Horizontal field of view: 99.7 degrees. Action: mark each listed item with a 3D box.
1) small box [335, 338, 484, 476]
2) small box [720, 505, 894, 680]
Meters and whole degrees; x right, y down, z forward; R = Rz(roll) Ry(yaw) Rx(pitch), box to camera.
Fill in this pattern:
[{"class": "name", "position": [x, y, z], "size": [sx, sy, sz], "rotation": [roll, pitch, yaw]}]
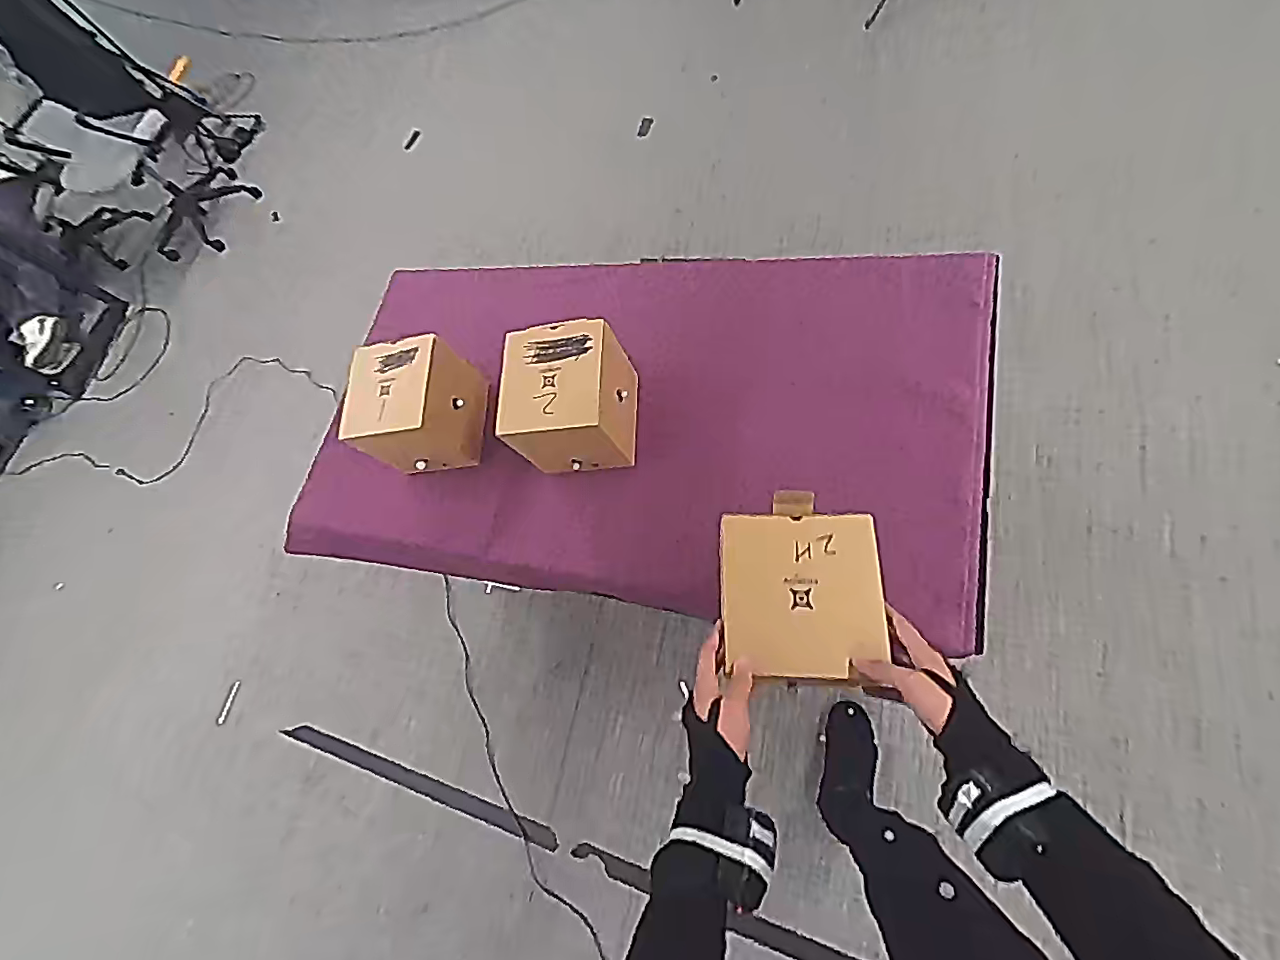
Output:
[{"class": "small box", "position": [-0.395, -0.121, 0.959], "size": [0.168, 0.176, 0.179], "rotation": [-7, 69, 16]}, {"class": "small box", "position": [0.181, 0.139, 0.639], "size": [0.168, 0.176, 0.179], "rotation": [0, 67, 7]}]
